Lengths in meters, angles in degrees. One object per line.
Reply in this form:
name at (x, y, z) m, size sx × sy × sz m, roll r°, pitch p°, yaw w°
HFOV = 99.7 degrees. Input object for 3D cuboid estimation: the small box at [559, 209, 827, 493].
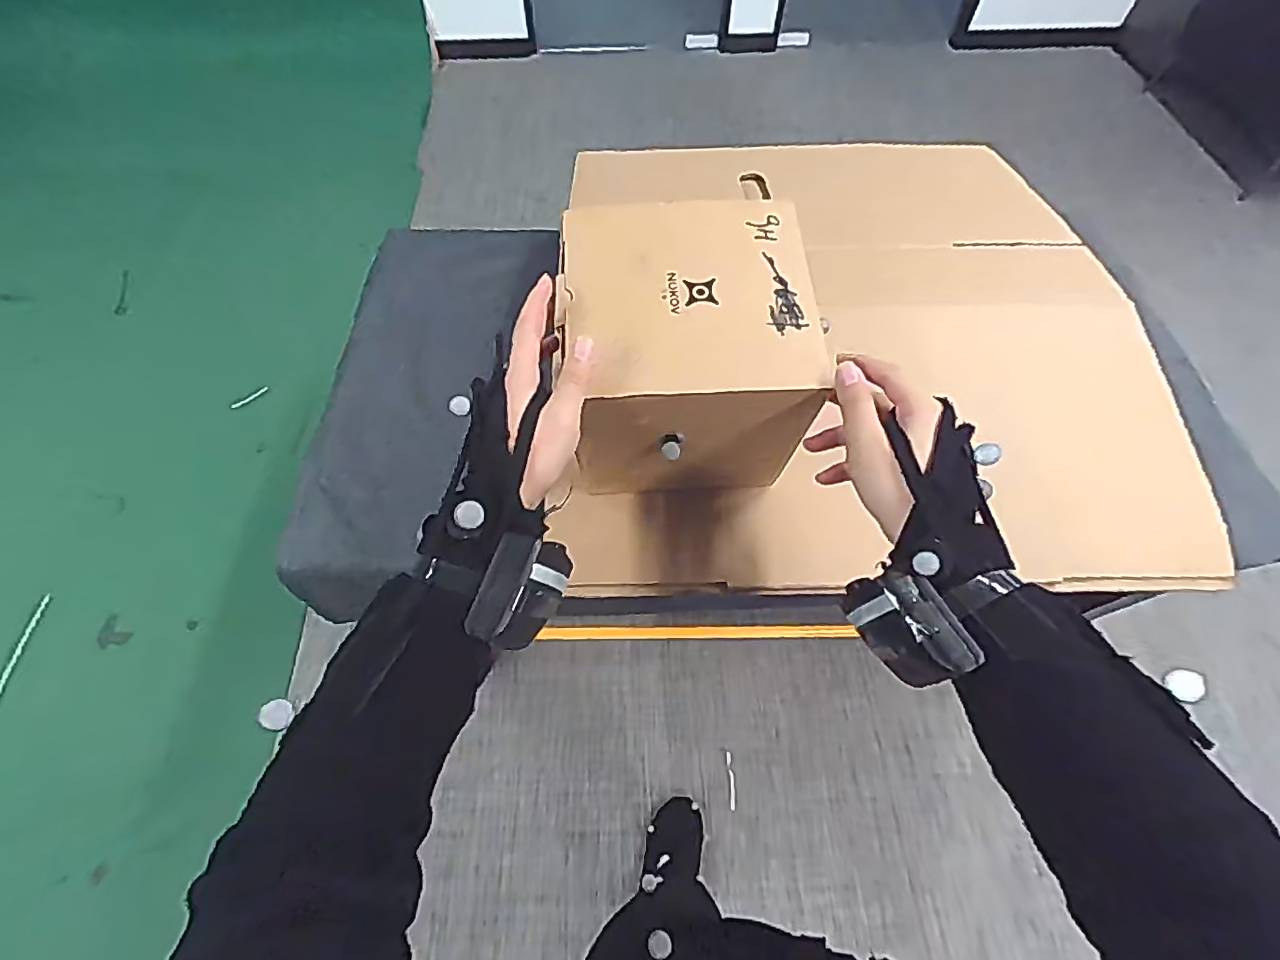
small box at (0.033, -0.094, 0.451) m, size 0.179 × 0.176 × 0.168 m, roll -3°, pitch 67°, yaw 0°
